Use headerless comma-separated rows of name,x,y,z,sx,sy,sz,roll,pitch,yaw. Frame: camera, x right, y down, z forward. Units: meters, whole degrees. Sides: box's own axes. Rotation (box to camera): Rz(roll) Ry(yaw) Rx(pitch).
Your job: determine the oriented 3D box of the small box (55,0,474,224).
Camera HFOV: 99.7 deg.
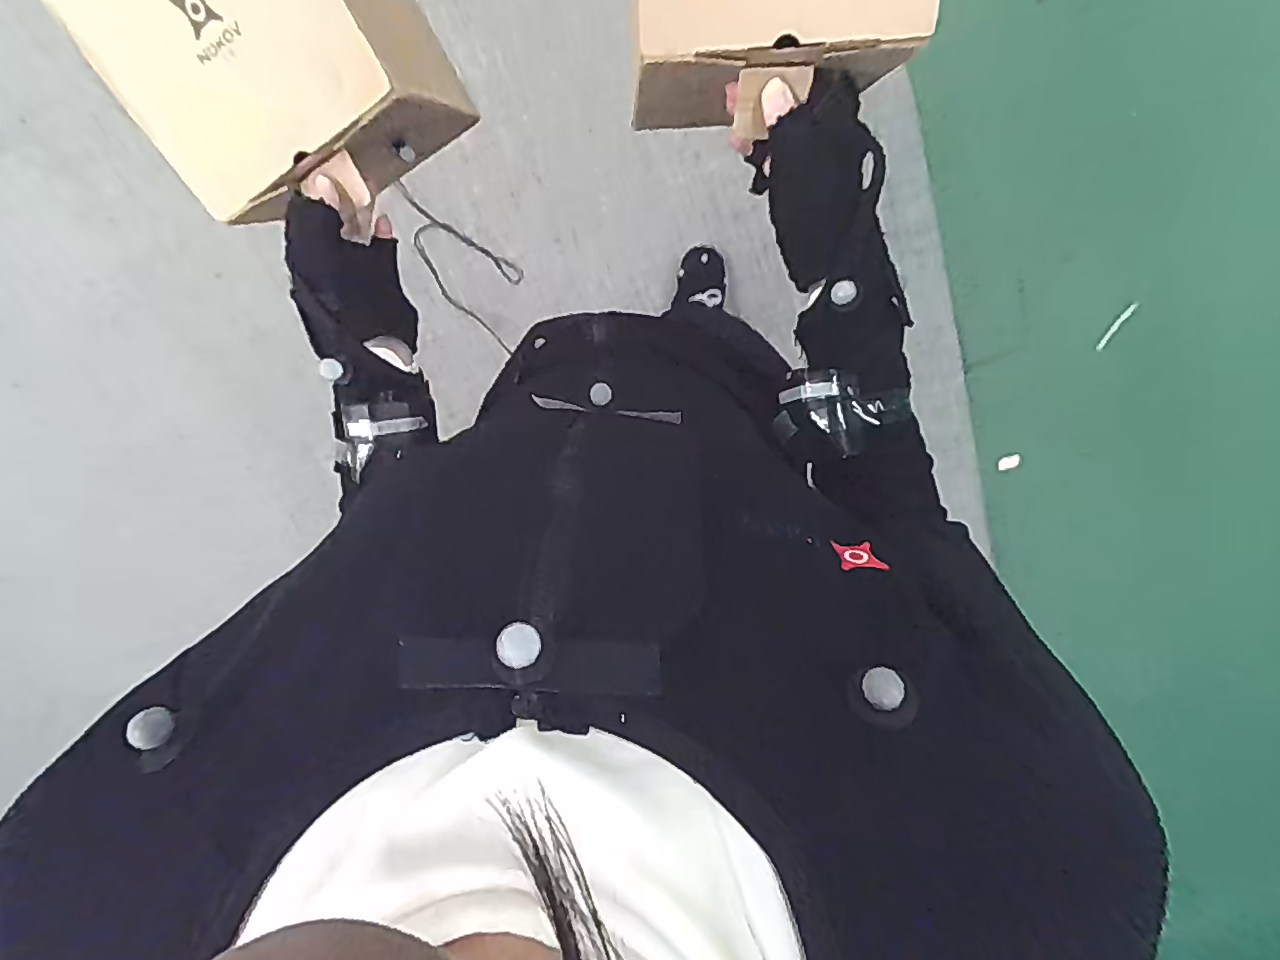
small box,-0.256,-0.321,0.403,0.168,0.176,0.179,-25,113,16
